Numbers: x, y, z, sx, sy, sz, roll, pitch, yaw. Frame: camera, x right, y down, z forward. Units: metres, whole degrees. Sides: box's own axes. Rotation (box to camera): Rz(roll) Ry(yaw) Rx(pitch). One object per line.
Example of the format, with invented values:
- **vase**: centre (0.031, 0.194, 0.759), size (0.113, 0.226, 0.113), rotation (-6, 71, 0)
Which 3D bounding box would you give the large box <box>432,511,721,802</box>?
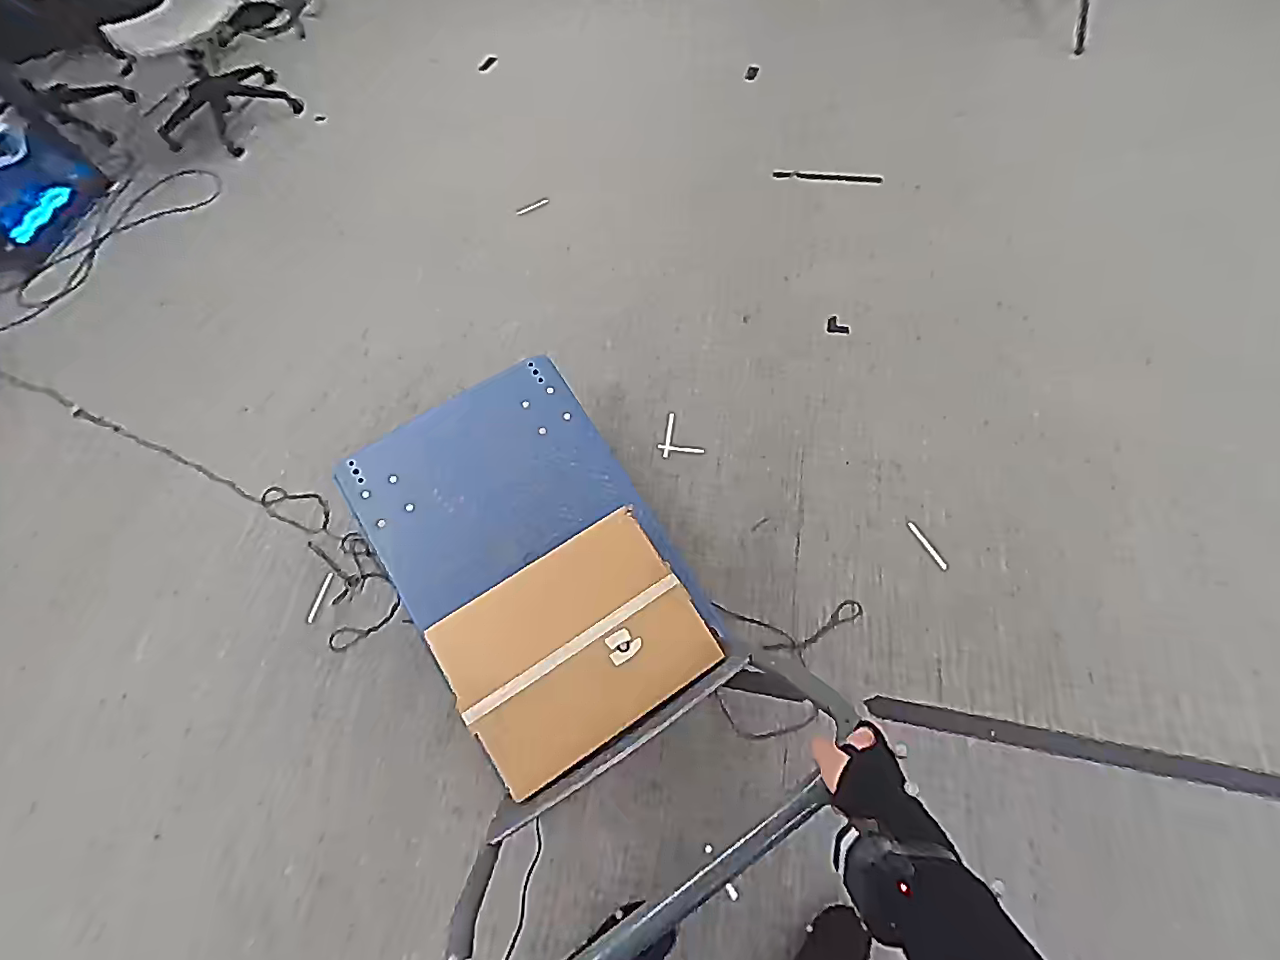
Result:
- **large box**: centre (-0.114, 0.323, 1.057), size (0.408, 0.320, 0.320), rotation (-32, 80, -11)
